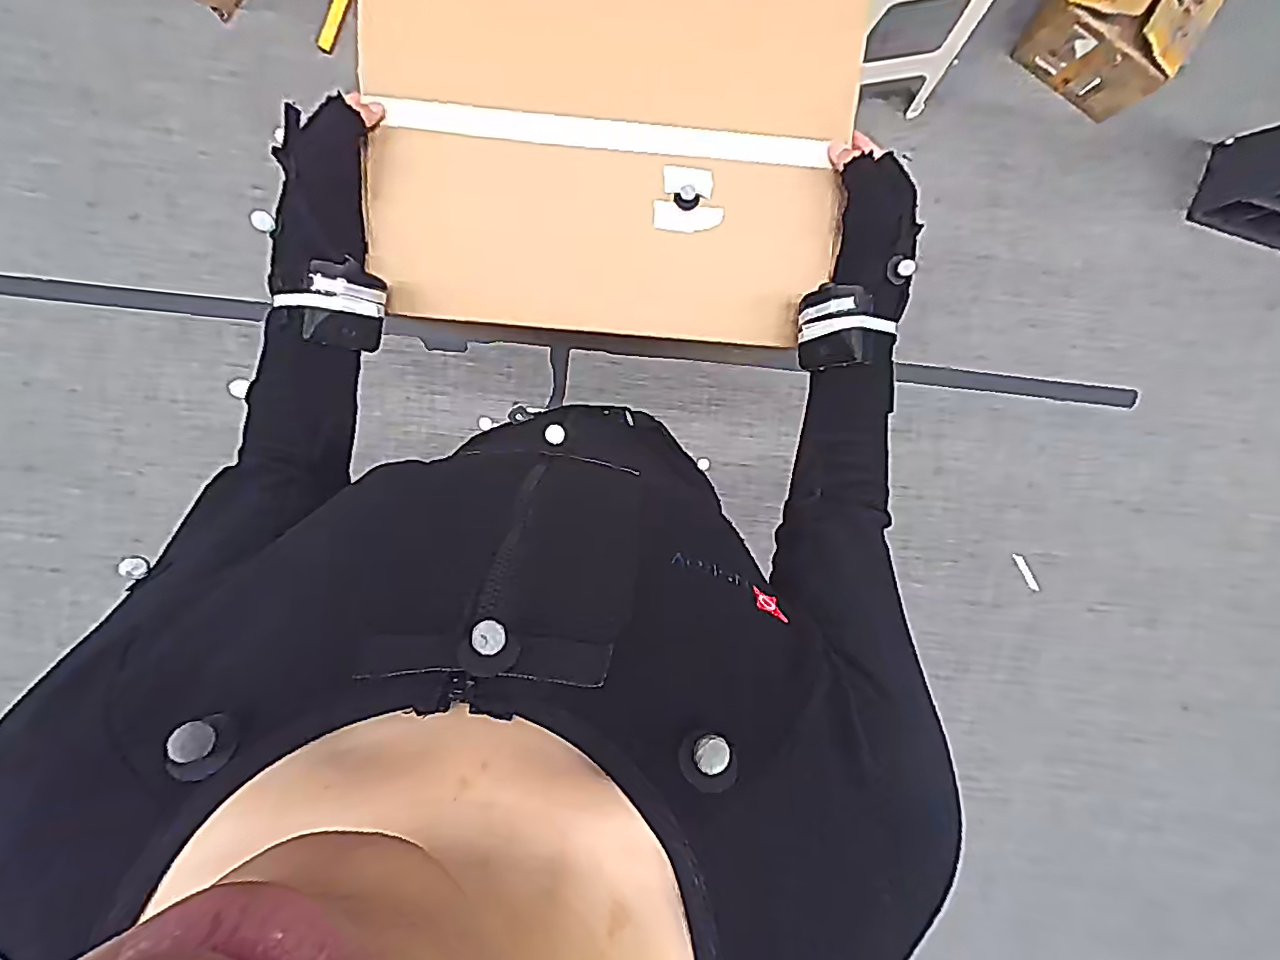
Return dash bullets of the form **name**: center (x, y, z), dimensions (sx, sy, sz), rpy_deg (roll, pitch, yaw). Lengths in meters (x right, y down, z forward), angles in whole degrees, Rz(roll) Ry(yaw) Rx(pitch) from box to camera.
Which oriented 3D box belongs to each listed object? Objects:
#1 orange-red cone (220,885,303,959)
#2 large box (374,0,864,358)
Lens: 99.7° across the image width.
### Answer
- **orange-red cone**: center (-1.097, 1.321, 1.436), dimensions (0.198, 0.360, 0.199), rpy_deg (4, 99, -2)
- **large box**: center (-0.029, -0.313, 0.601), dimensions (0.408, 0.320, 0.320), rpy_deg (4, 100, -4)
